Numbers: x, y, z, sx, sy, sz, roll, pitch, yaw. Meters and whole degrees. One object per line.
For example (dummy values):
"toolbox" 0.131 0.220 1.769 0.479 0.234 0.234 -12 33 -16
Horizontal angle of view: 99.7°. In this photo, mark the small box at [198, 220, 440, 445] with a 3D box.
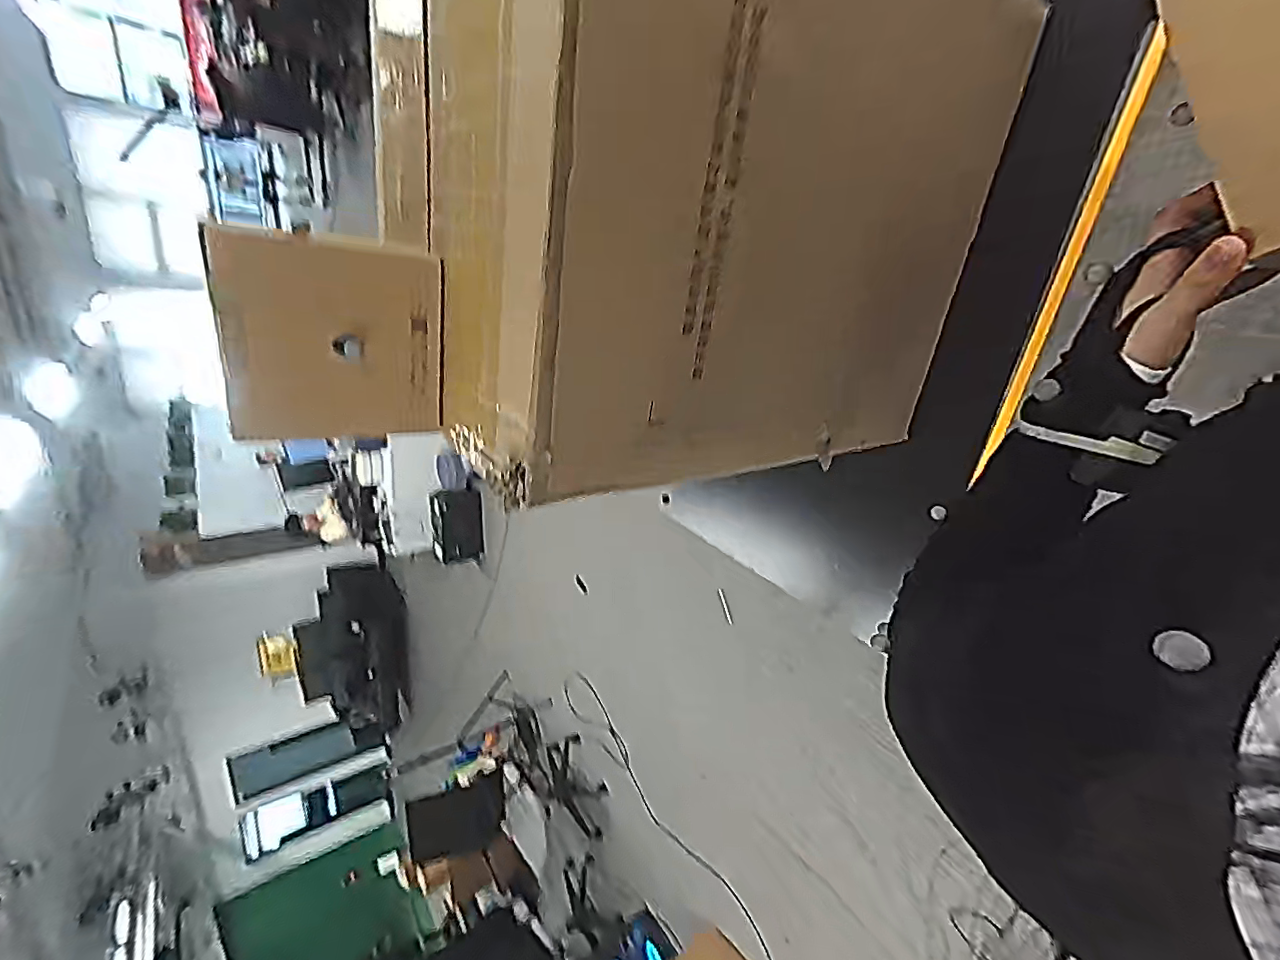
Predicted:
"small box" -0.301 -0.145 0.519 0.179 0.176 0.168 33 122 46
